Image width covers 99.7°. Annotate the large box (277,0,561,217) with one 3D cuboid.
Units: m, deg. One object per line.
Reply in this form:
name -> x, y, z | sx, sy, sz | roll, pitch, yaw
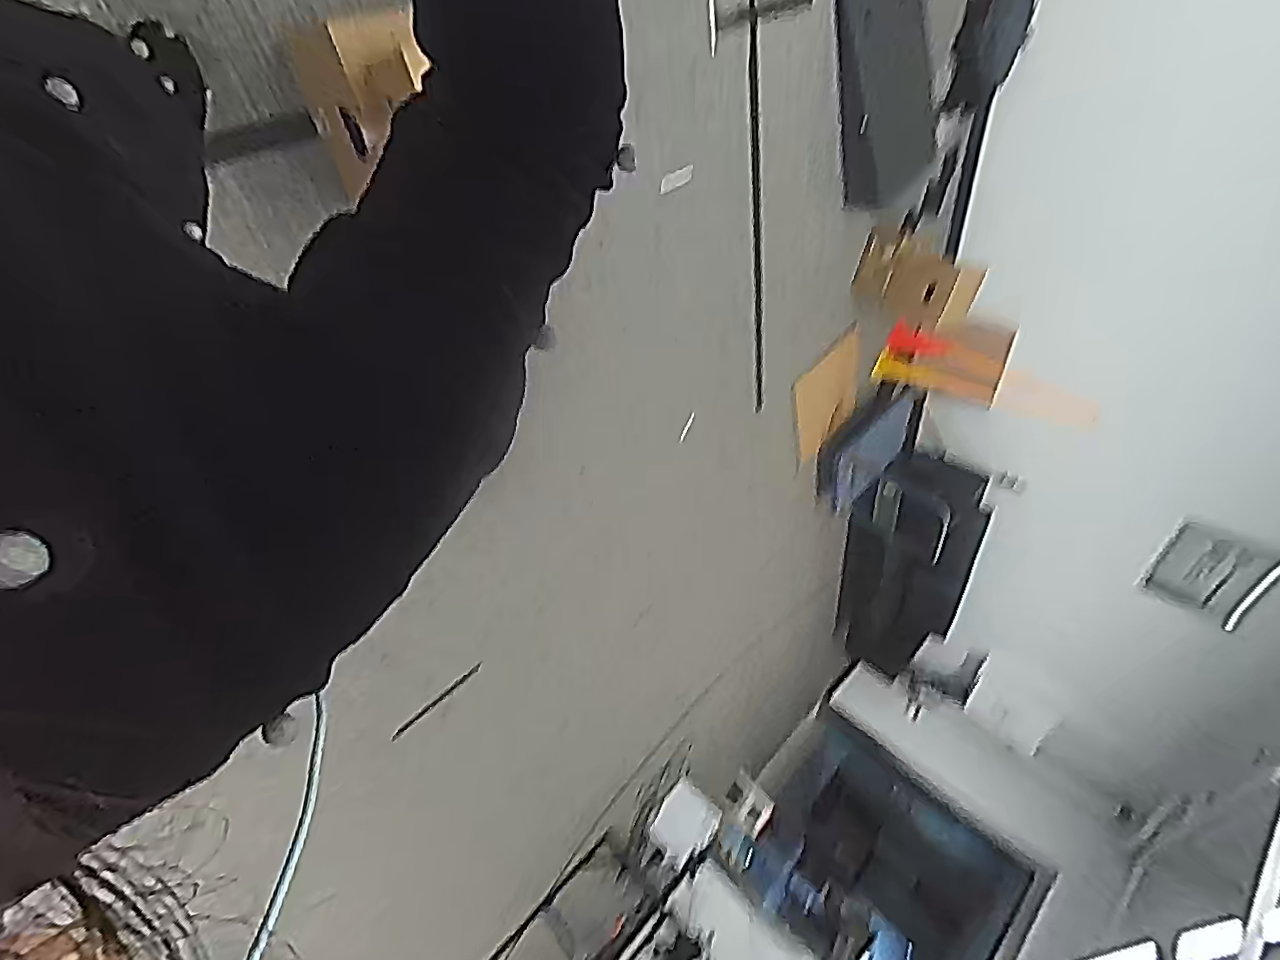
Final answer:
large box -> -0.444, -0.795, 1.139 | 0.408, 0.320, 0.320 | -36, 138, -26
